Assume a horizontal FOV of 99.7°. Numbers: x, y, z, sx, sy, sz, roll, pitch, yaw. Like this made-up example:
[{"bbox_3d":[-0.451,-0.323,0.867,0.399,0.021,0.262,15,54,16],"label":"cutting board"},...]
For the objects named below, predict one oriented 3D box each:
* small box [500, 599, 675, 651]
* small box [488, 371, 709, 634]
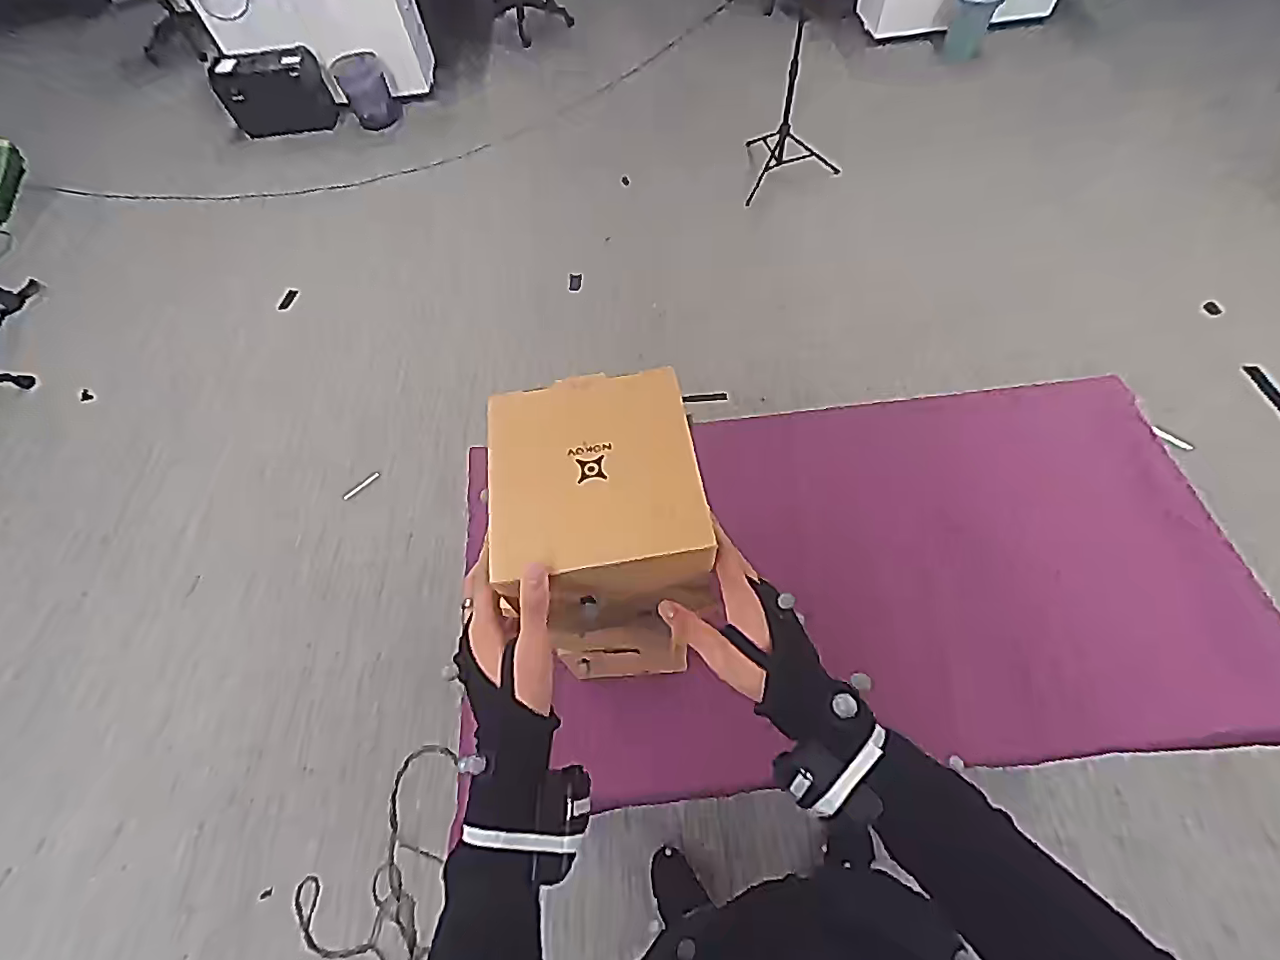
[{"bbox_3d":[-0.046,0.103,0.647,0.179,0.176,0.168,0,60,5],"label":"small box"},{"bbox_3d":[-0.033,0.032,0.499,0.168,0.176,0.179,-10,58,-1],"label":"small box"}]
